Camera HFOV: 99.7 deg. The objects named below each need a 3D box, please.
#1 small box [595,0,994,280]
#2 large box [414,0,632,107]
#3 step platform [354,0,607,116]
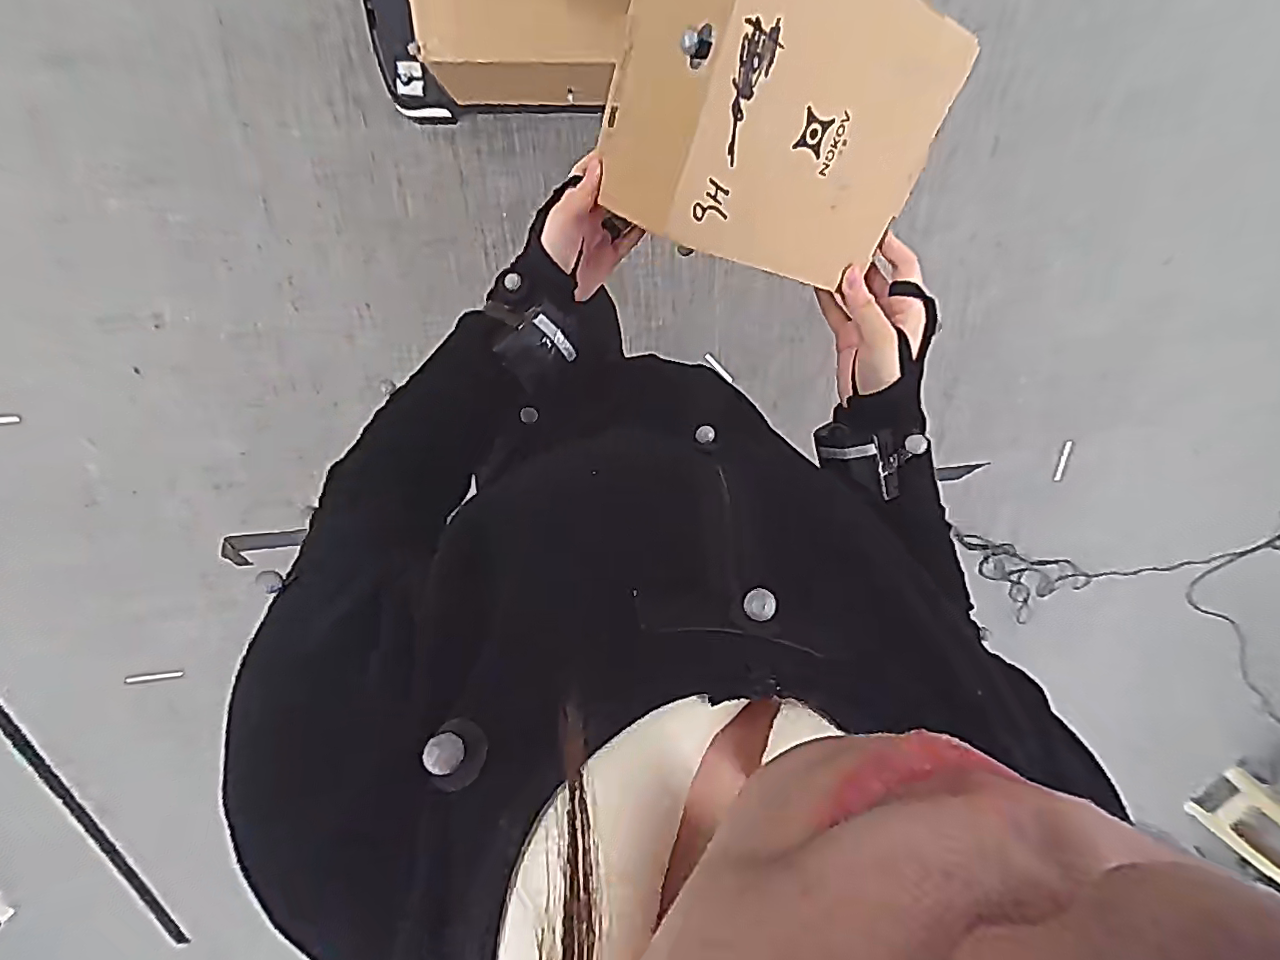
[{"bbox_3d":[0.089,-0.266,0.387,0.179,0.176,0.168,5,120,-28],"label":"small box"},{"bbox_3d":[-0.109,-0.762,0.796,0.408,0.320,0.320,-5,115,-6],"label":"large box"},{"bbox_3d":[-0.159,-0.847,1.014,0.684,0.204,0.286,0,115,-8],"label":"step platform"}]
